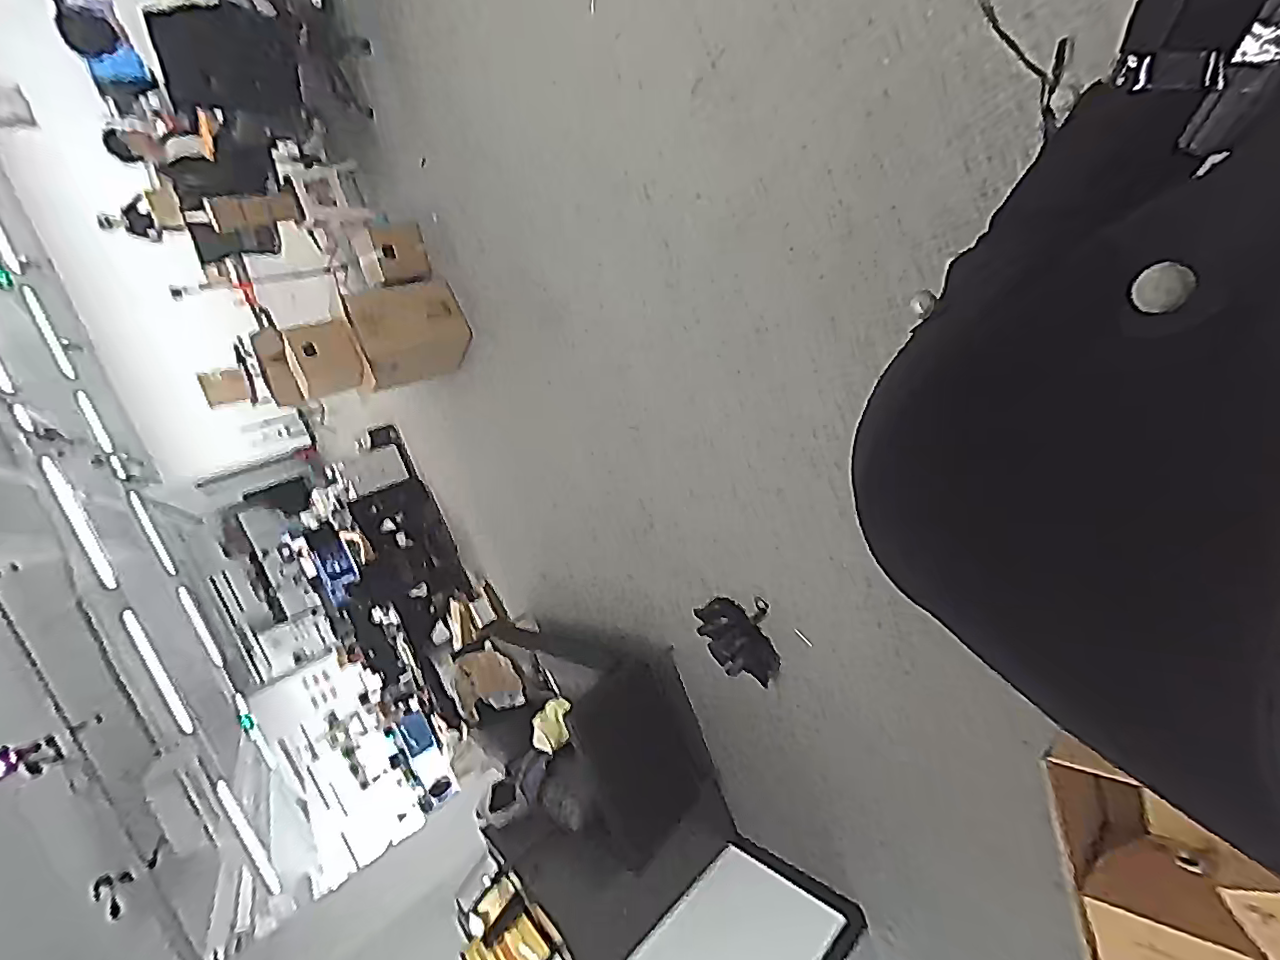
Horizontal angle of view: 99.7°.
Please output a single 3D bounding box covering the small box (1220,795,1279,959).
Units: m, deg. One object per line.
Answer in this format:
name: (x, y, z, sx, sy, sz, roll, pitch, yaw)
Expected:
small box: (0.809, 0.478, 0.590, 0.179, 0.176, 0.168, 59, 142, 15)
